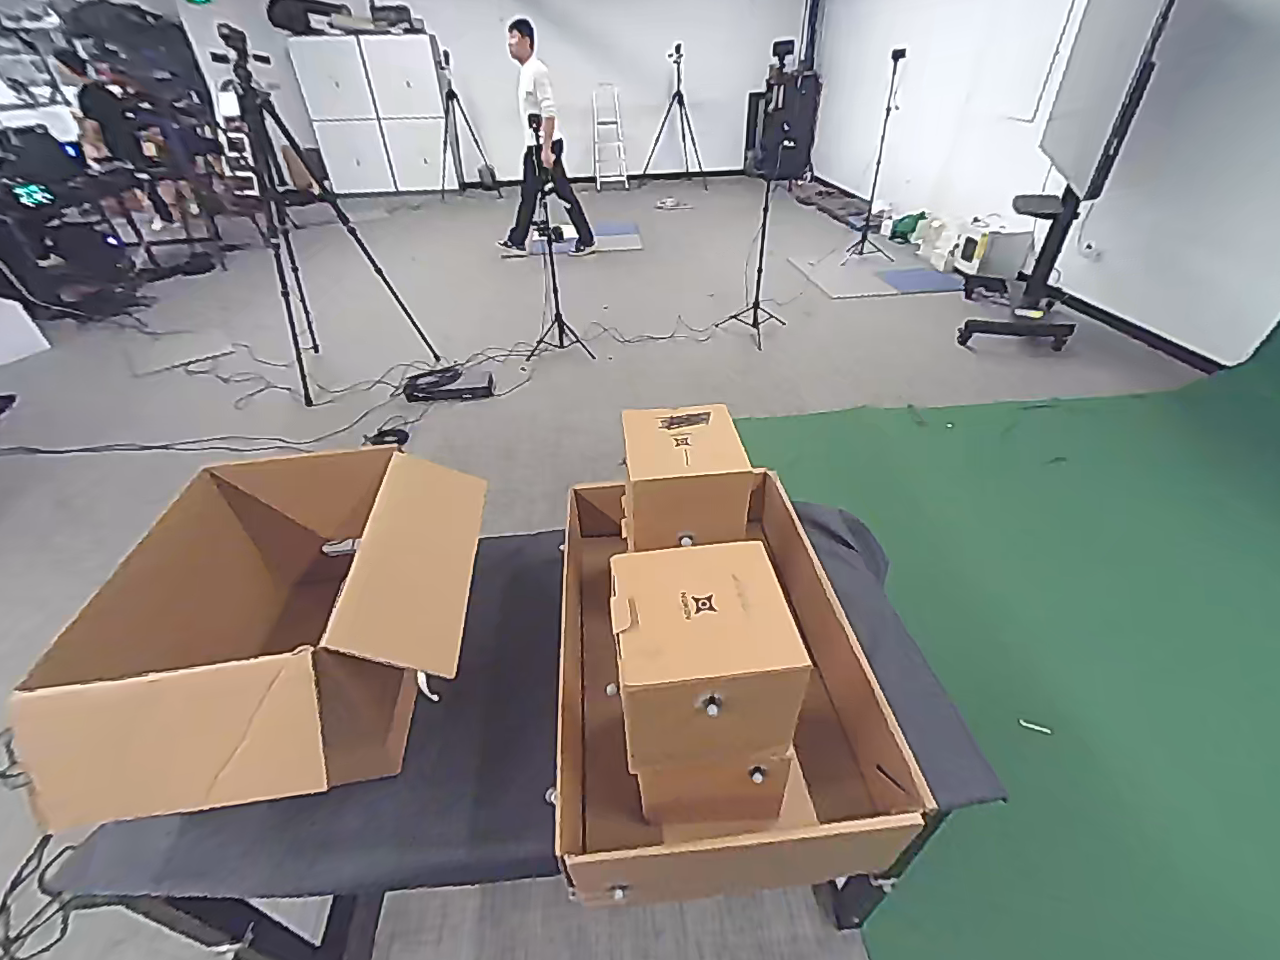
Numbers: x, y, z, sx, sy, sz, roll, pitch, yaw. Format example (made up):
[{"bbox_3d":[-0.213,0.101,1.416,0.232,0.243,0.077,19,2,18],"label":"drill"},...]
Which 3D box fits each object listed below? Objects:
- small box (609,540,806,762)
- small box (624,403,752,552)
[{"bbox_3d":[0.063,0.190,0.600,0.179,0.176,0.168,-5,39,-4],"label":"small box"},{"bbox_3d":[0.062,0.001,0.828,0.168,0.176,0.179,-5,40,-3],"label":"small box"}]
